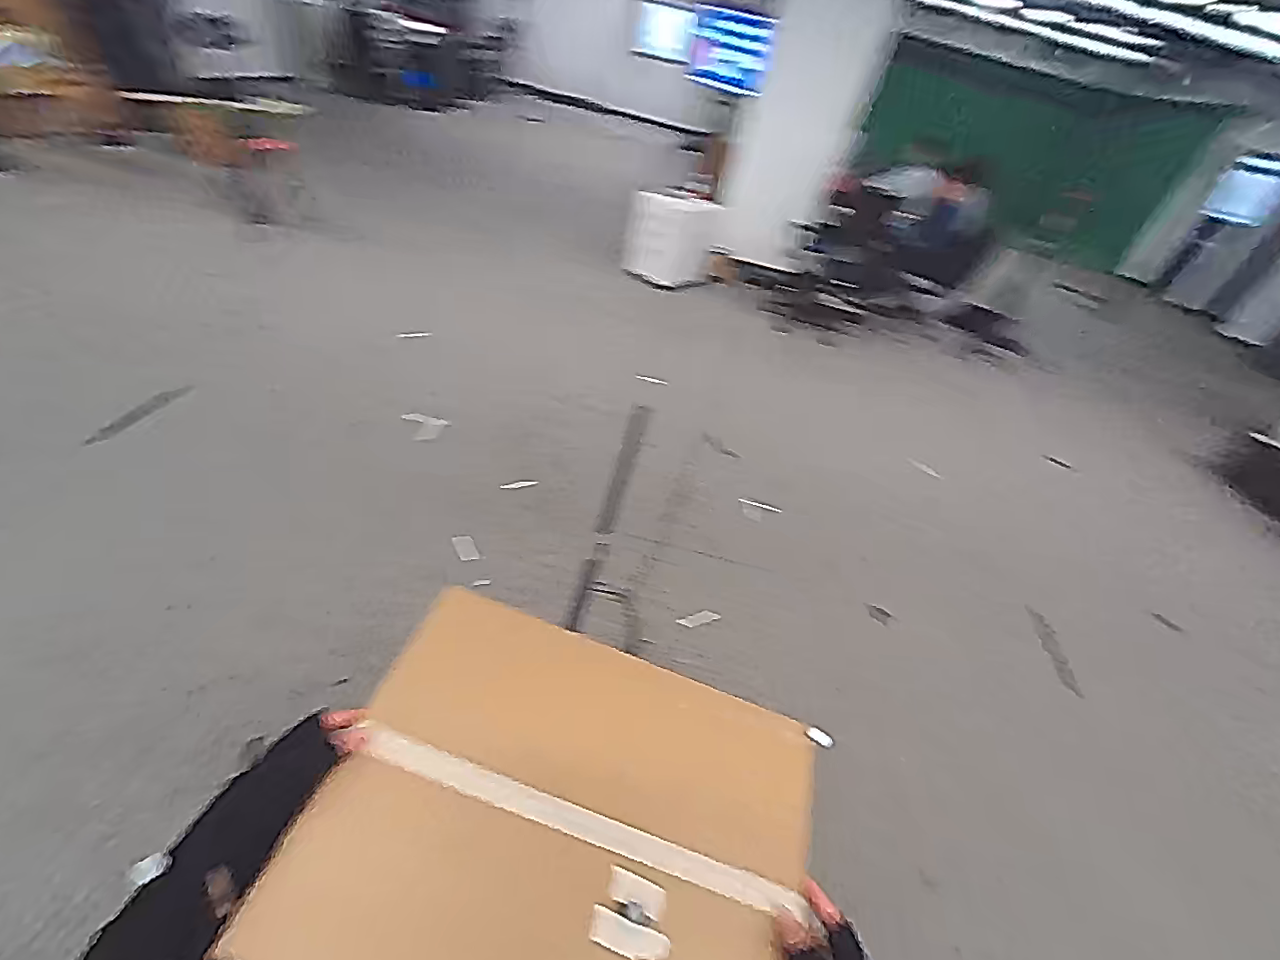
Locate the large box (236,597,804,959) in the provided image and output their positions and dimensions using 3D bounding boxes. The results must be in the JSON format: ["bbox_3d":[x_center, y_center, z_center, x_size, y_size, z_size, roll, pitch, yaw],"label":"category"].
[{"bbox_3d":[-0.090,0.390,0.573,0.408,0.320,0.320,22,47,1],"label":"large box"}]
